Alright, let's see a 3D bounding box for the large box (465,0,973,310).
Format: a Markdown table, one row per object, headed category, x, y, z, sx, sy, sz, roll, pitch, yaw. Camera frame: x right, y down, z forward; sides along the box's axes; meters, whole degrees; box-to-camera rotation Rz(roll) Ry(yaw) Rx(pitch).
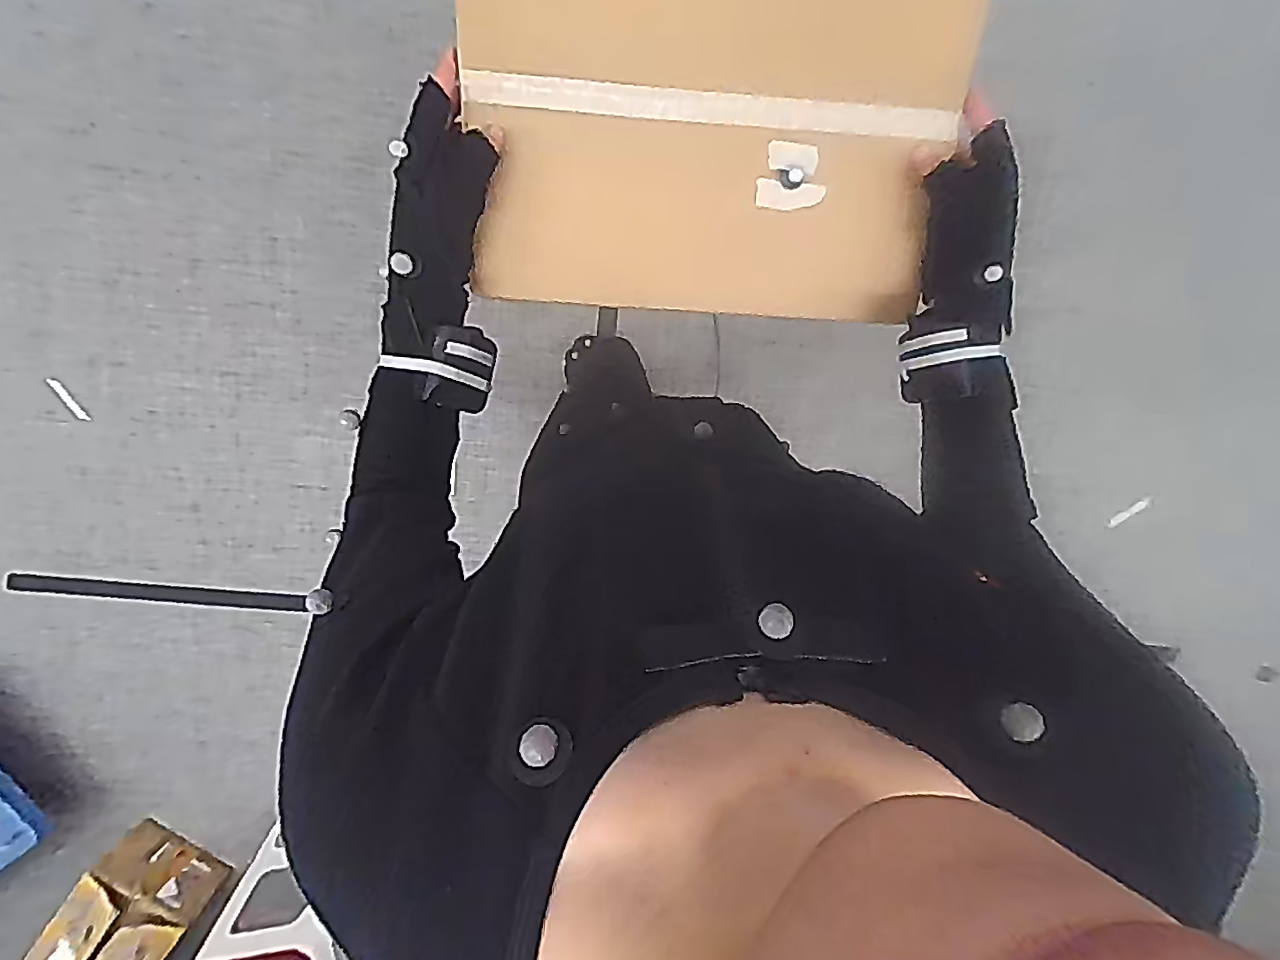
| category | x | y | z | sx | sy | sz | roll | pitch | yaw |
| --- | --- | --- | --- | --- | --- | --- | --- | --- | --- |
| large box | 0.050 | -0.358 | 0.581 | 0.408 | 0.320 | 0.320 | 2 | 111 | -5 |
